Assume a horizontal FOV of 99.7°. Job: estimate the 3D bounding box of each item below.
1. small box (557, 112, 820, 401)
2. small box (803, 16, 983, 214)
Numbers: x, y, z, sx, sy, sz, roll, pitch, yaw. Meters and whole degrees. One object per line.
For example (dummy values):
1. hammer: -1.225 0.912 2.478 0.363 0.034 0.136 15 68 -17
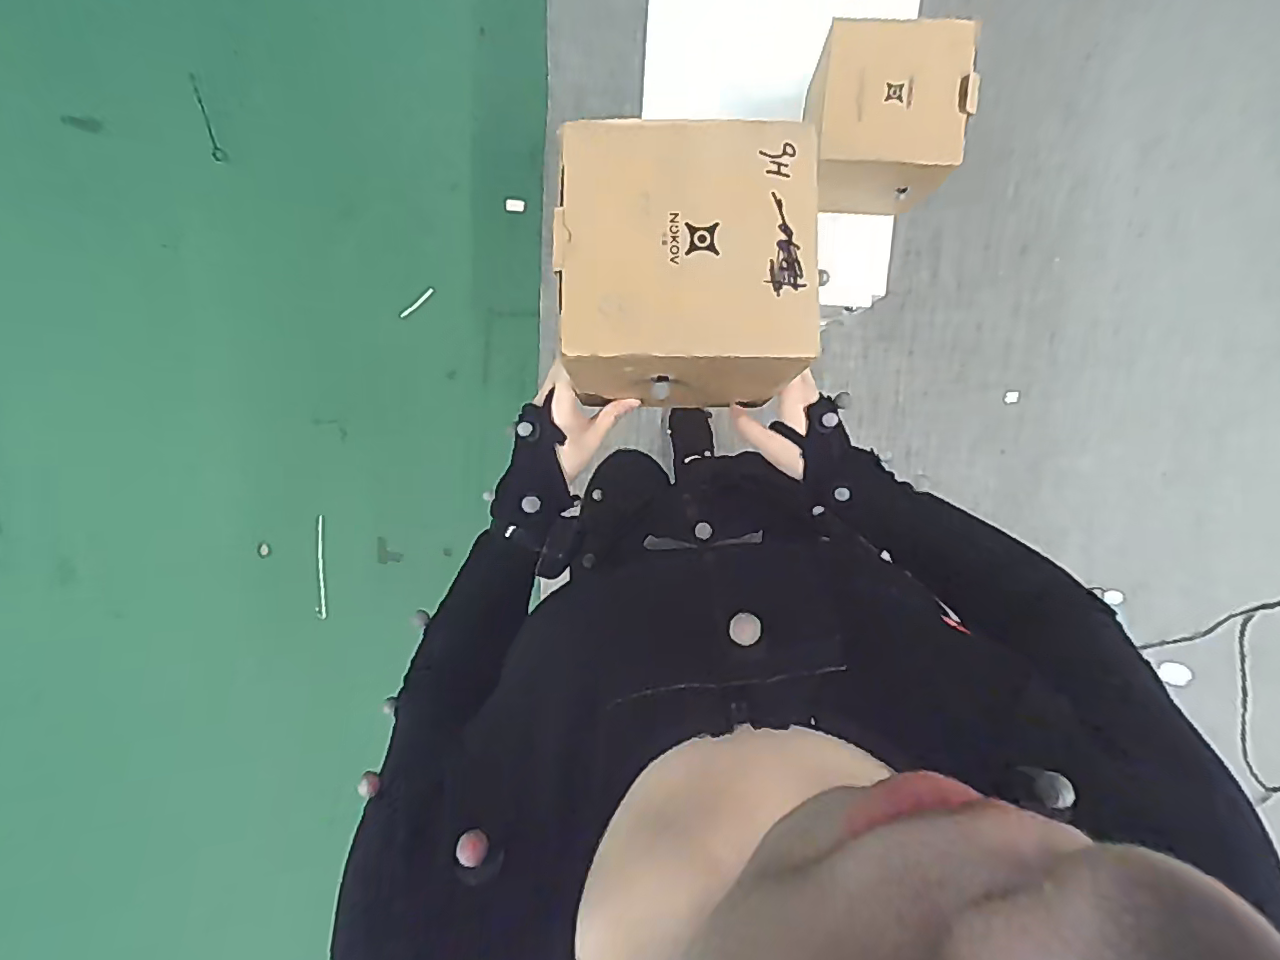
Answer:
1. small box: 0.034 -0.161 0.441 0.179 0.176 0.168 0 87 0
2. small box: 0.320 -0.477 0.731 0.179 0.176 0.168 5 97 5
